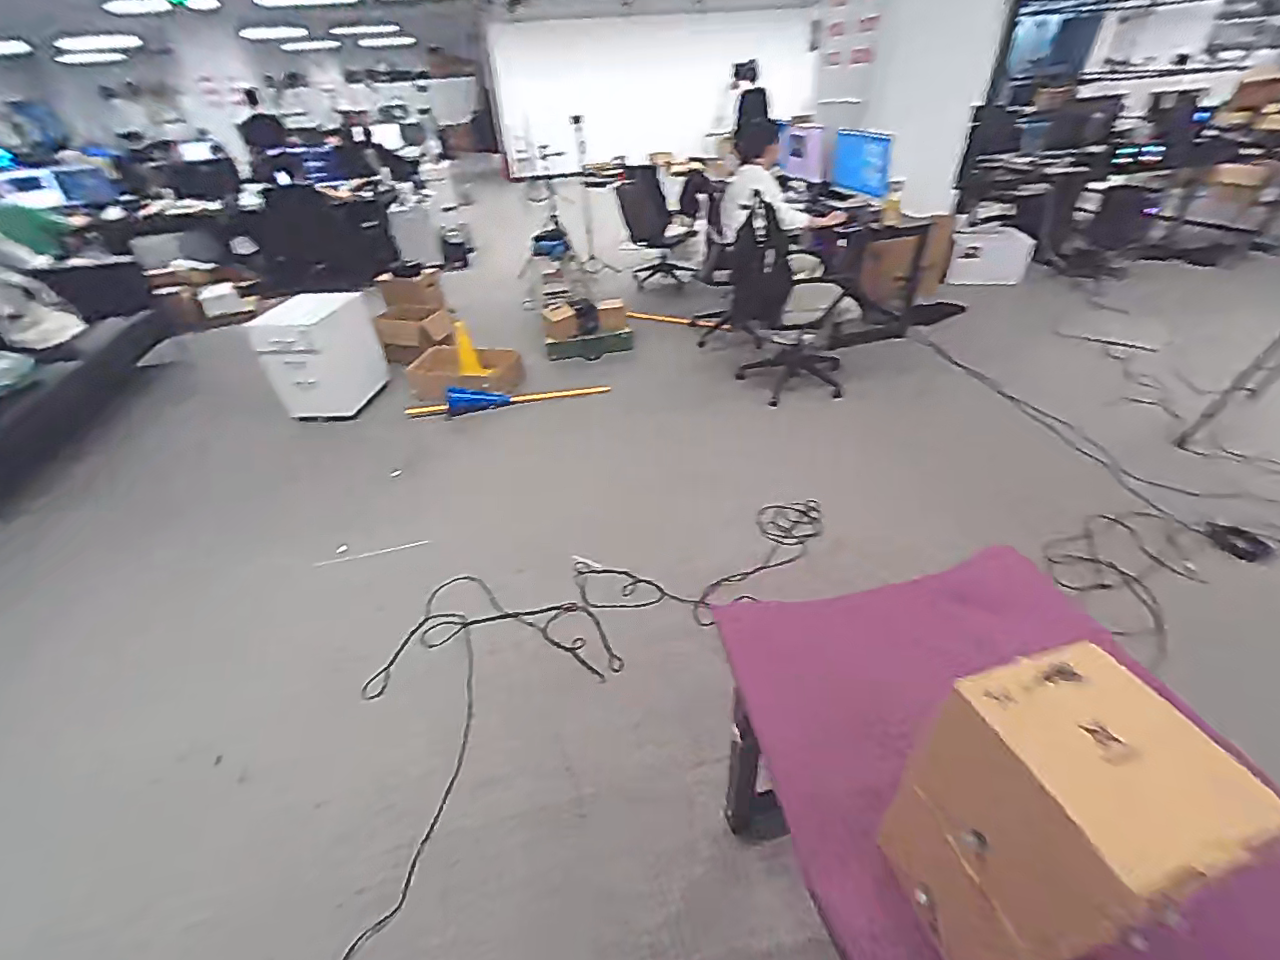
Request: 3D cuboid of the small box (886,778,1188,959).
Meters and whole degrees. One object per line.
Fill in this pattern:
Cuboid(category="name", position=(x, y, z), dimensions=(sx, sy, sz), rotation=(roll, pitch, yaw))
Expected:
Cuboid(category="small box", position=(0.402, 0.420, 0.586), dimensions=(0.179, 0.176, 0.168), rotation=(-10, 36, -11))

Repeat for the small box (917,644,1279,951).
Cuboid(category="small box", position=(0.393, 0.287, 0.491), dimensions=(0.168, 0.176, 0.179), rotation=(-10, 37, -11))
